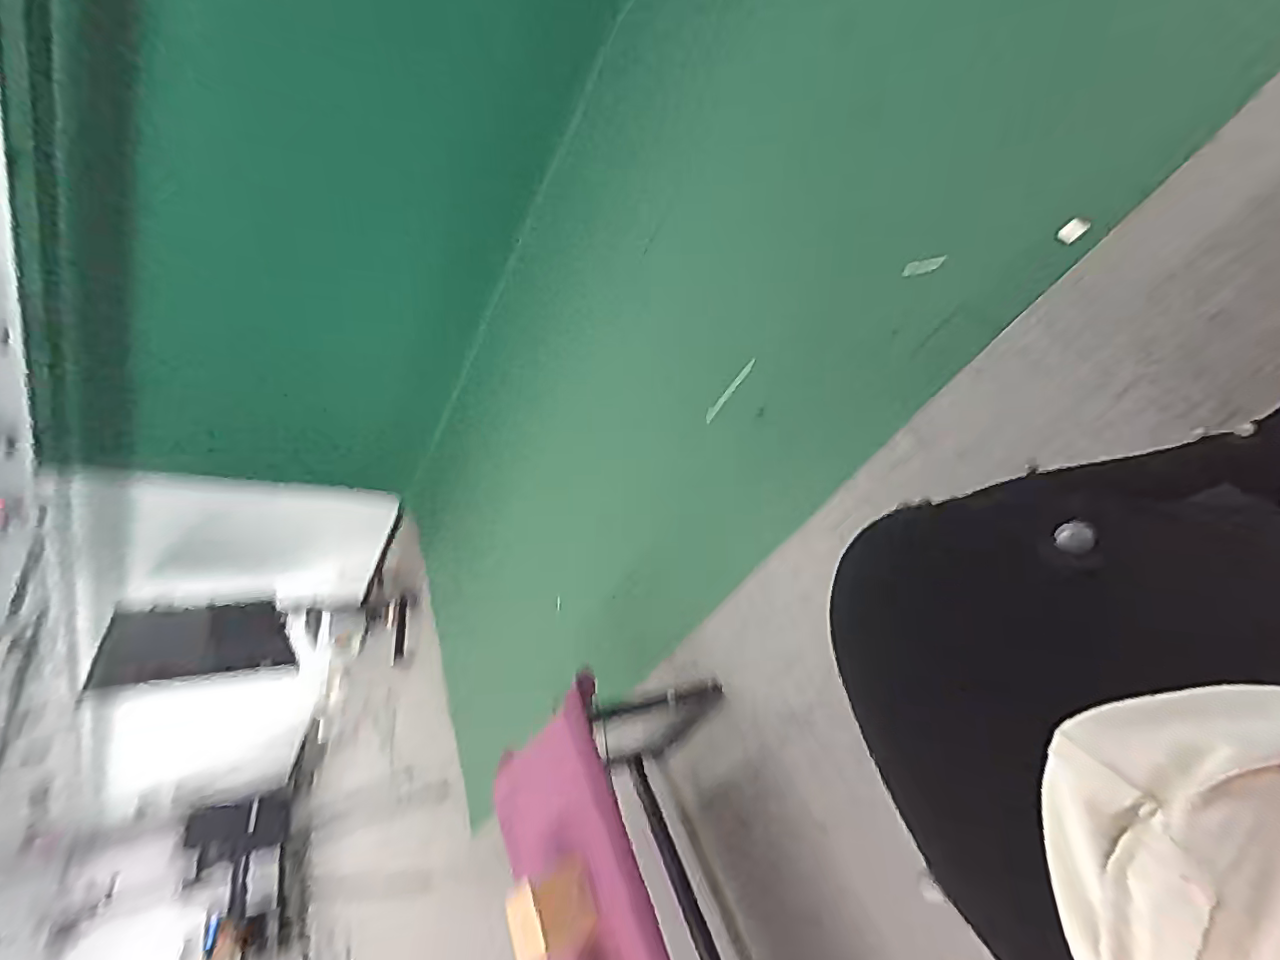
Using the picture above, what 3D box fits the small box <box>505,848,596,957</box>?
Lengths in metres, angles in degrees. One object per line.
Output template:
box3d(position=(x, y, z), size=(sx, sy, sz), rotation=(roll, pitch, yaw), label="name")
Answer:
box3d(position=(-0.247, 1.166, 1.499), size=(0.179, 0.176, 0.168), rotation=(-56, 48, 28), label="small box")
